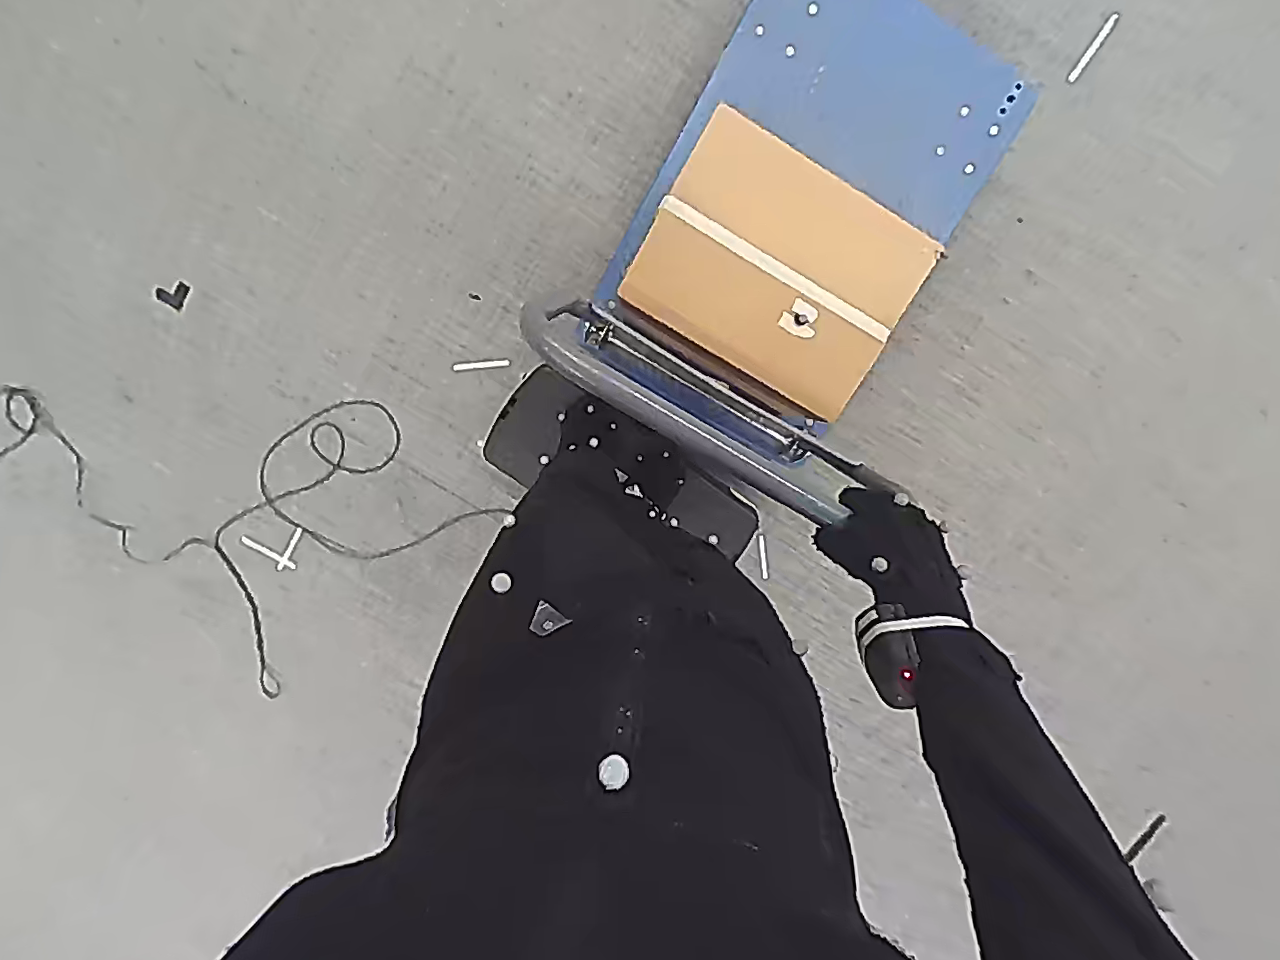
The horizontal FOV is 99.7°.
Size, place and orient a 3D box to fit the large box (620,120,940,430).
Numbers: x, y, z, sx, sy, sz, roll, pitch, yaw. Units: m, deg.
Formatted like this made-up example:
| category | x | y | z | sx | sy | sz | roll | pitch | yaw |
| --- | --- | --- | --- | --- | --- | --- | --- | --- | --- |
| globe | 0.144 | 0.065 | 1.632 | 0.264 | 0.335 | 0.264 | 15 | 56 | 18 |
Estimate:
| category | x | y | z | sx | sy | sz | roll | pitch | yaw |
| --- | --- | --- | --- | --- | --- | --- | --- | --- | --- |
| large box | 0.209 | -0.328 | 0.970 | 0.408 | 0.320 | 0.320 | 30 | 100 | -6 |
